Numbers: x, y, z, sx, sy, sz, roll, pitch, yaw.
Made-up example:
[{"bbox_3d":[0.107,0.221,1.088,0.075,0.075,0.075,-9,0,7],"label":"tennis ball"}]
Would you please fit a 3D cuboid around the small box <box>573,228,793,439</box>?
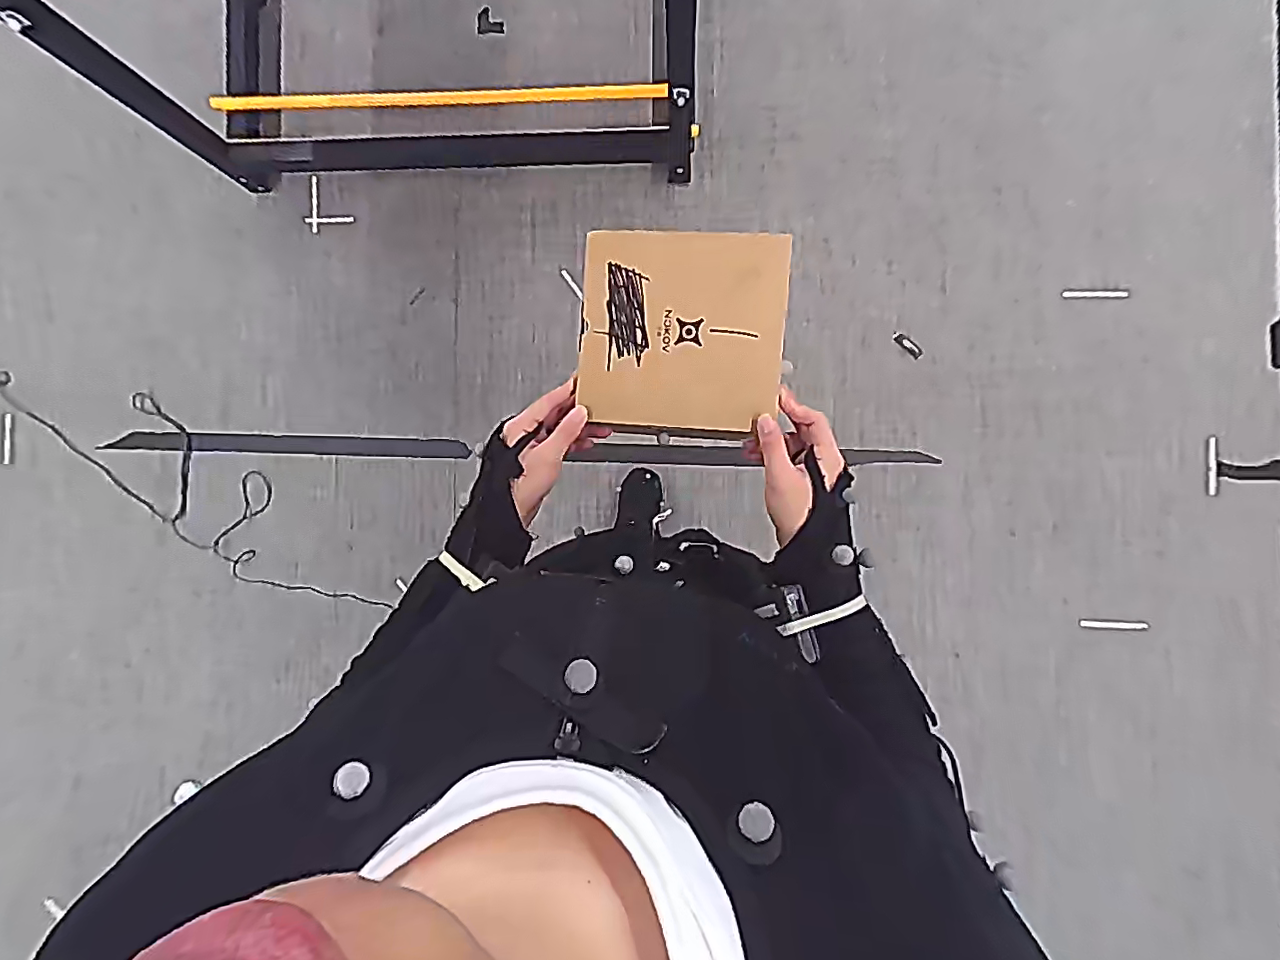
[{"bbox_3d":[0.046,-0.130,0.533,0.179,0.176,0.168,5,92,9],"label":"small box"}]
